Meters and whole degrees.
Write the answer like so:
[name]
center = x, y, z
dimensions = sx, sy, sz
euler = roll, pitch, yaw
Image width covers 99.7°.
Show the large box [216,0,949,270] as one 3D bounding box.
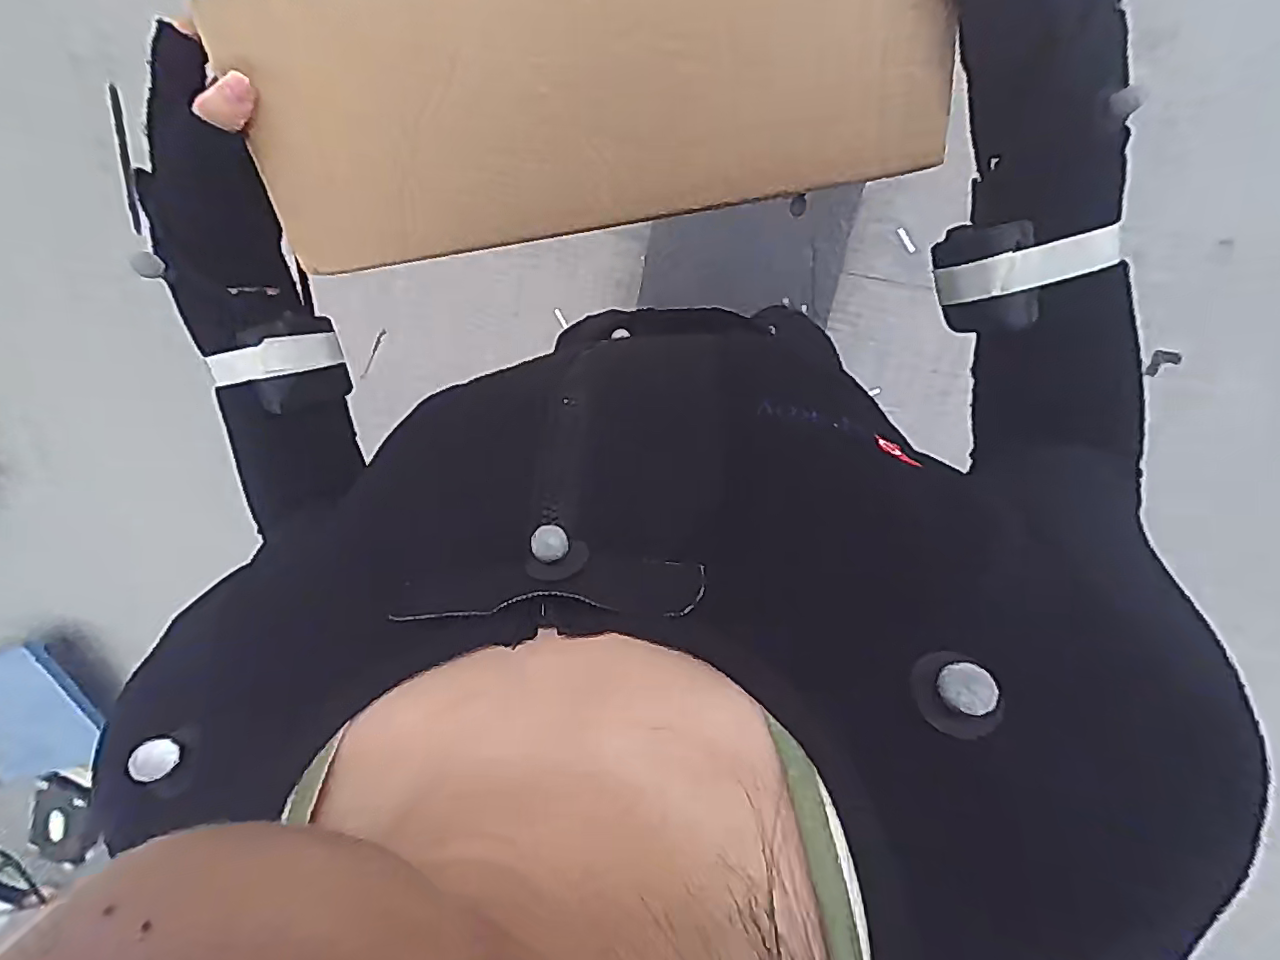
[large box]
center = -0.034, -0.370, 0.404
dimensions = 0.408, 0.320, 0.320
euler = -6, 118, 7
